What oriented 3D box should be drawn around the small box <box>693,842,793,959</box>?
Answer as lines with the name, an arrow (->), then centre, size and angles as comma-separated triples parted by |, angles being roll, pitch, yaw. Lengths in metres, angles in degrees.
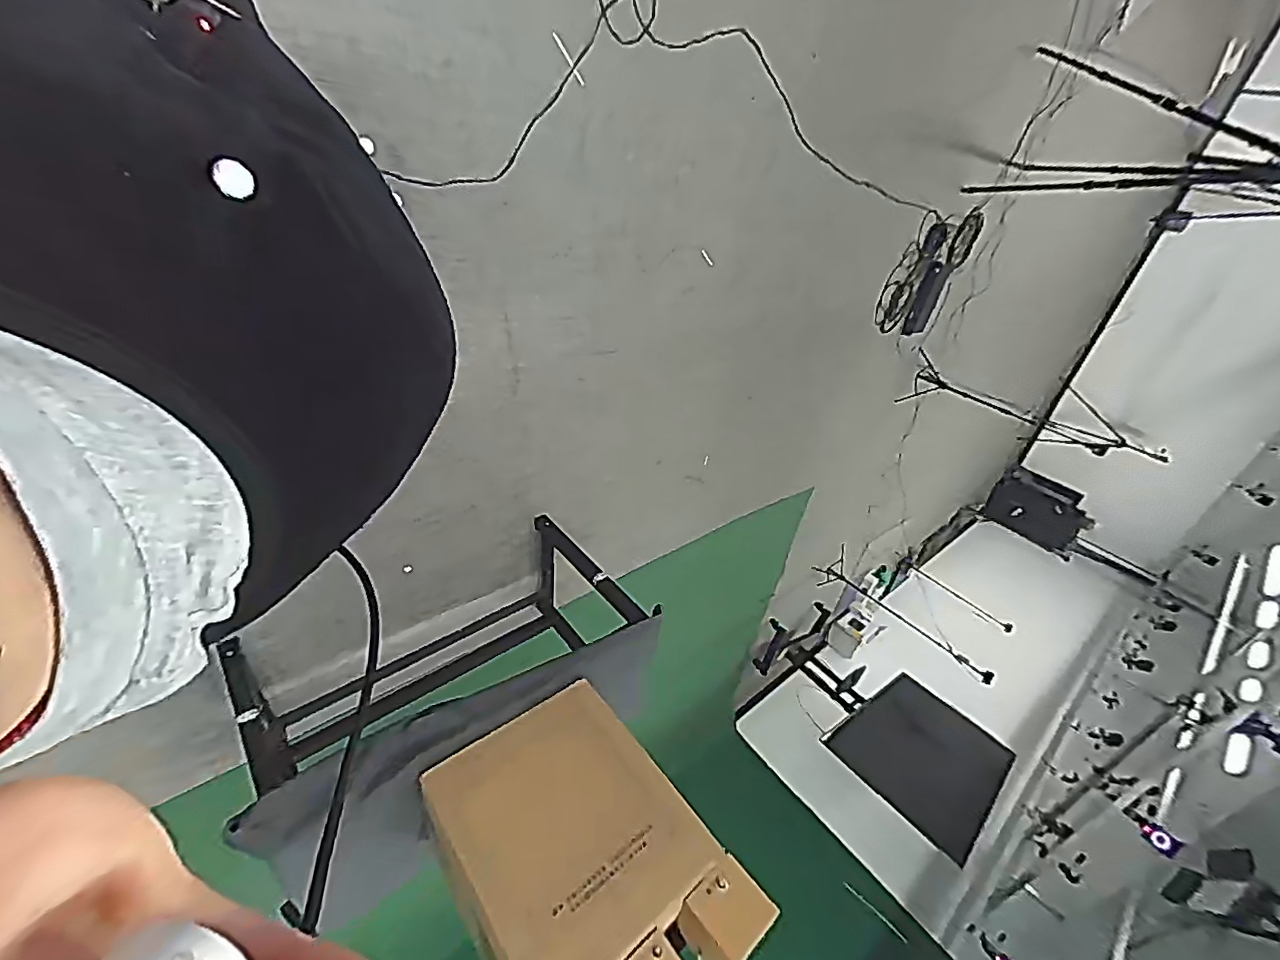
small box -> 0.250, 1.059, 1.353 | 0.168, 0.176, 0.179 | -26, 135, -36

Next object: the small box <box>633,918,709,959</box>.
small box -> 0.067, 1.134, 1.204 | 0.168, 0.176, 0.179 | -24, 135, -34
